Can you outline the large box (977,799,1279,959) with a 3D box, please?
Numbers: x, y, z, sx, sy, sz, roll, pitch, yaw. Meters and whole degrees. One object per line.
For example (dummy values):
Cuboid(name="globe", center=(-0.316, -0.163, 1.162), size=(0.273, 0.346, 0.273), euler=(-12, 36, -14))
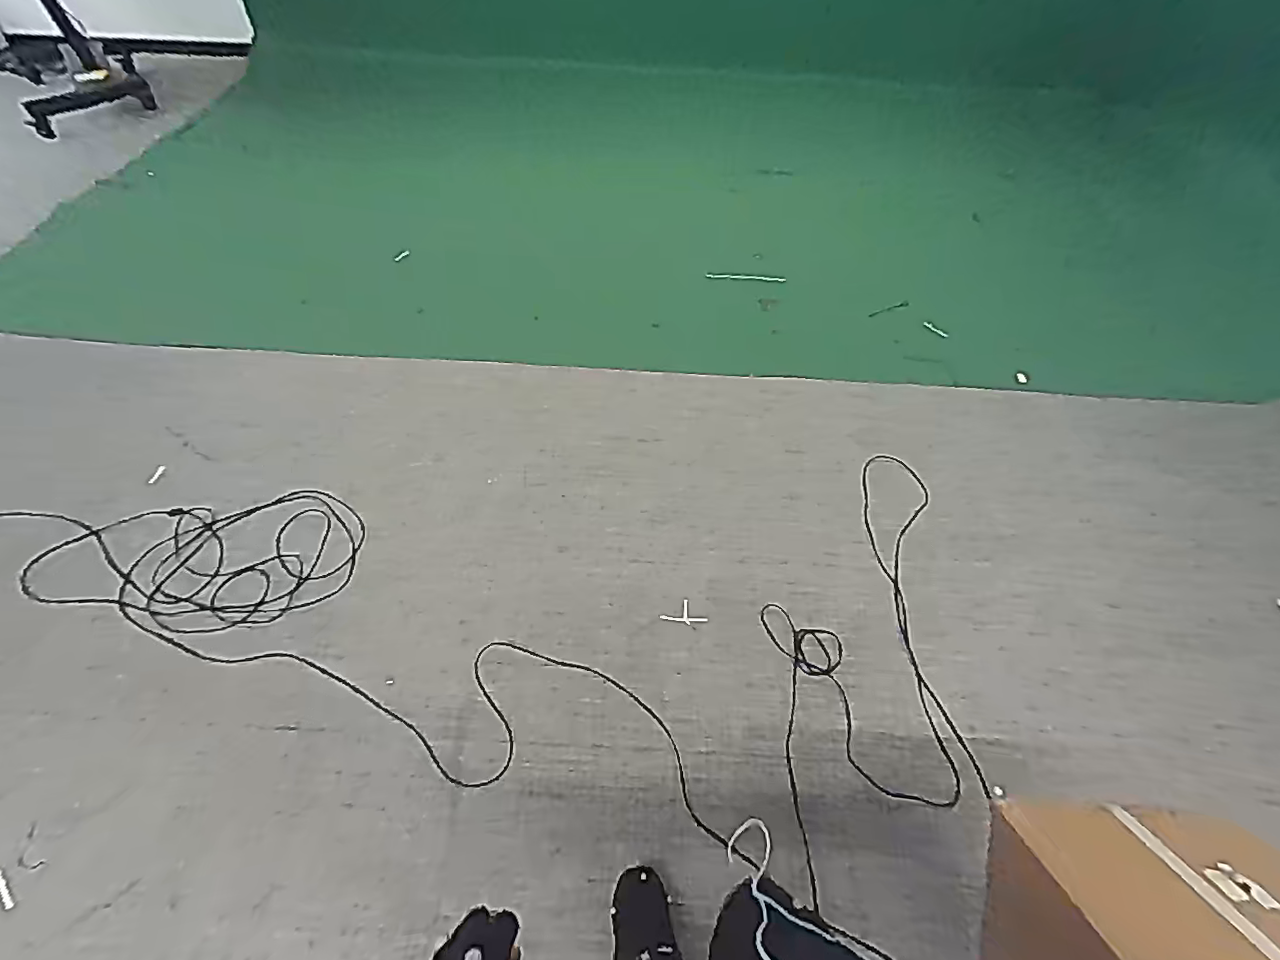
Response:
Cuboid(name="large box", center=(0.634, 0.636, 0.591), size=(0.320, 0.408, 0.320), euler=(2, 95, 6))
